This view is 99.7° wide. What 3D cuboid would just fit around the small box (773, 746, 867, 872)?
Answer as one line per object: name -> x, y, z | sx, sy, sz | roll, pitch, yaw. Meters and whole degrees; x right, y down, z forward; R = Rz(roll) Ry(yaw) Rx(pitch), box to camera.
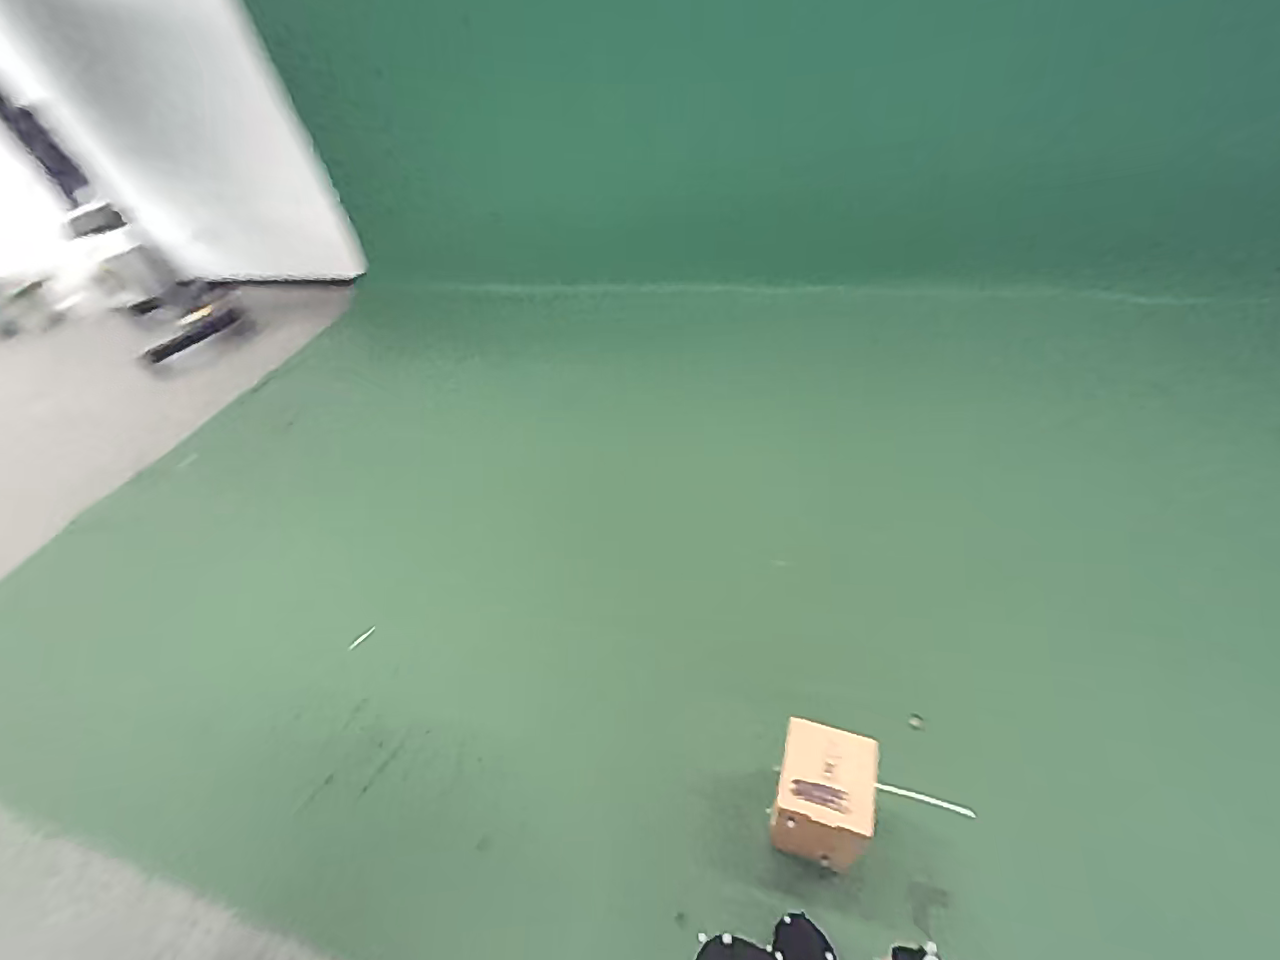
small box -> 0.396, 0.733, 1.202 | 0.168, 0.176, 0.179 | 11, 49, 21
